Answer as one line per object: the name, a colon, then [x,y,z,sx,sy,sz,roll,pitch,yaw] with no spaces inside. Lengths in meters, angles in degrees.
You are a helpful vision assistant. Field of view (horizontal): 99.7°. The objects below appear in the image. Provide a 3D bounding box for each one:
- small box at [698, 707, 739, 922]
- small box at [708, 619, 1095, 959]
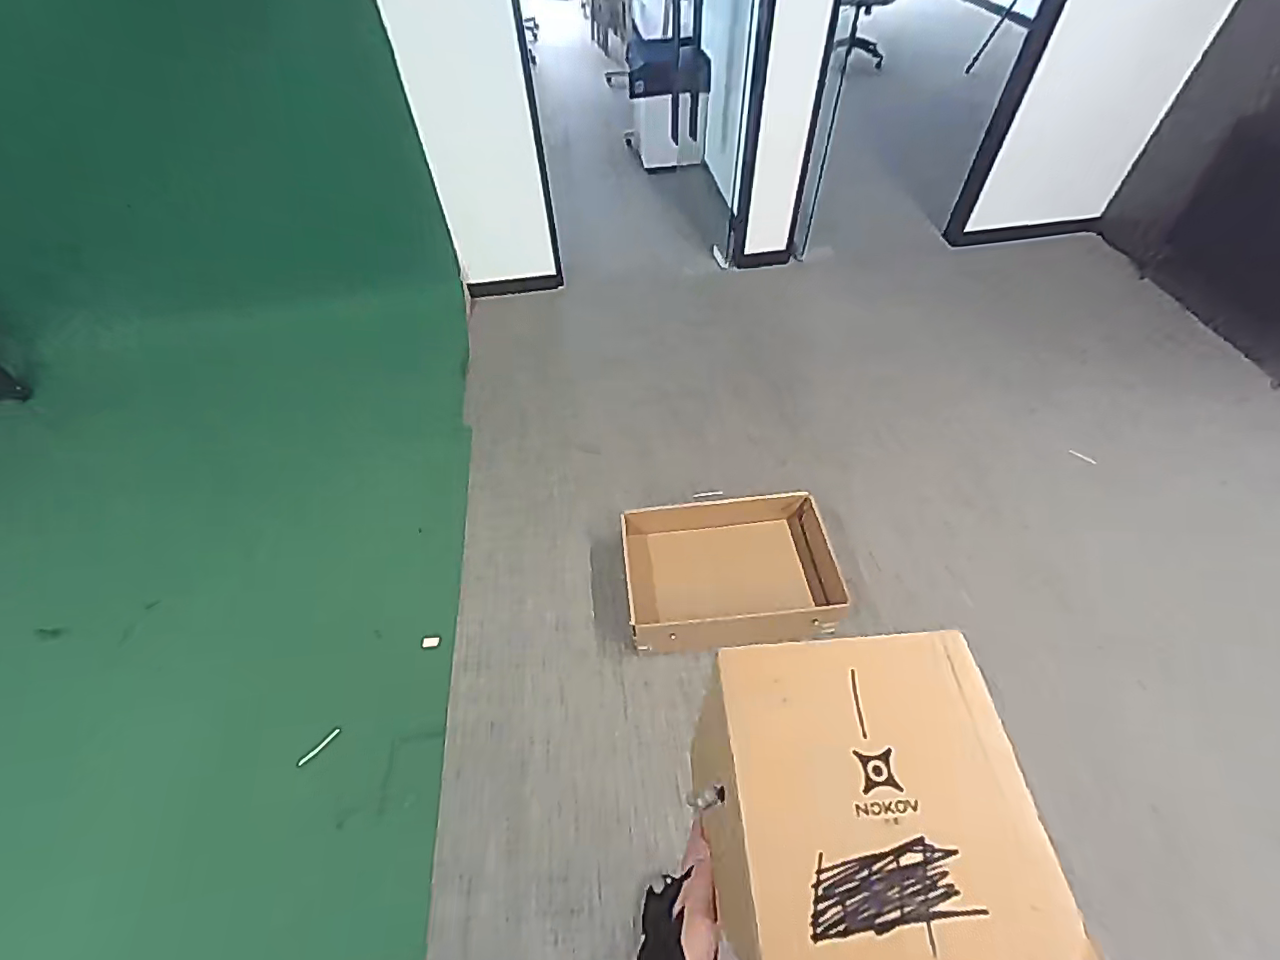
small box: [0.148,0.300,0.516,0.168,0.176,0.179,-2,57,1]
small box: [0.142,0.213,0.377,0.168,0.176,0.179,-4,55,0]
